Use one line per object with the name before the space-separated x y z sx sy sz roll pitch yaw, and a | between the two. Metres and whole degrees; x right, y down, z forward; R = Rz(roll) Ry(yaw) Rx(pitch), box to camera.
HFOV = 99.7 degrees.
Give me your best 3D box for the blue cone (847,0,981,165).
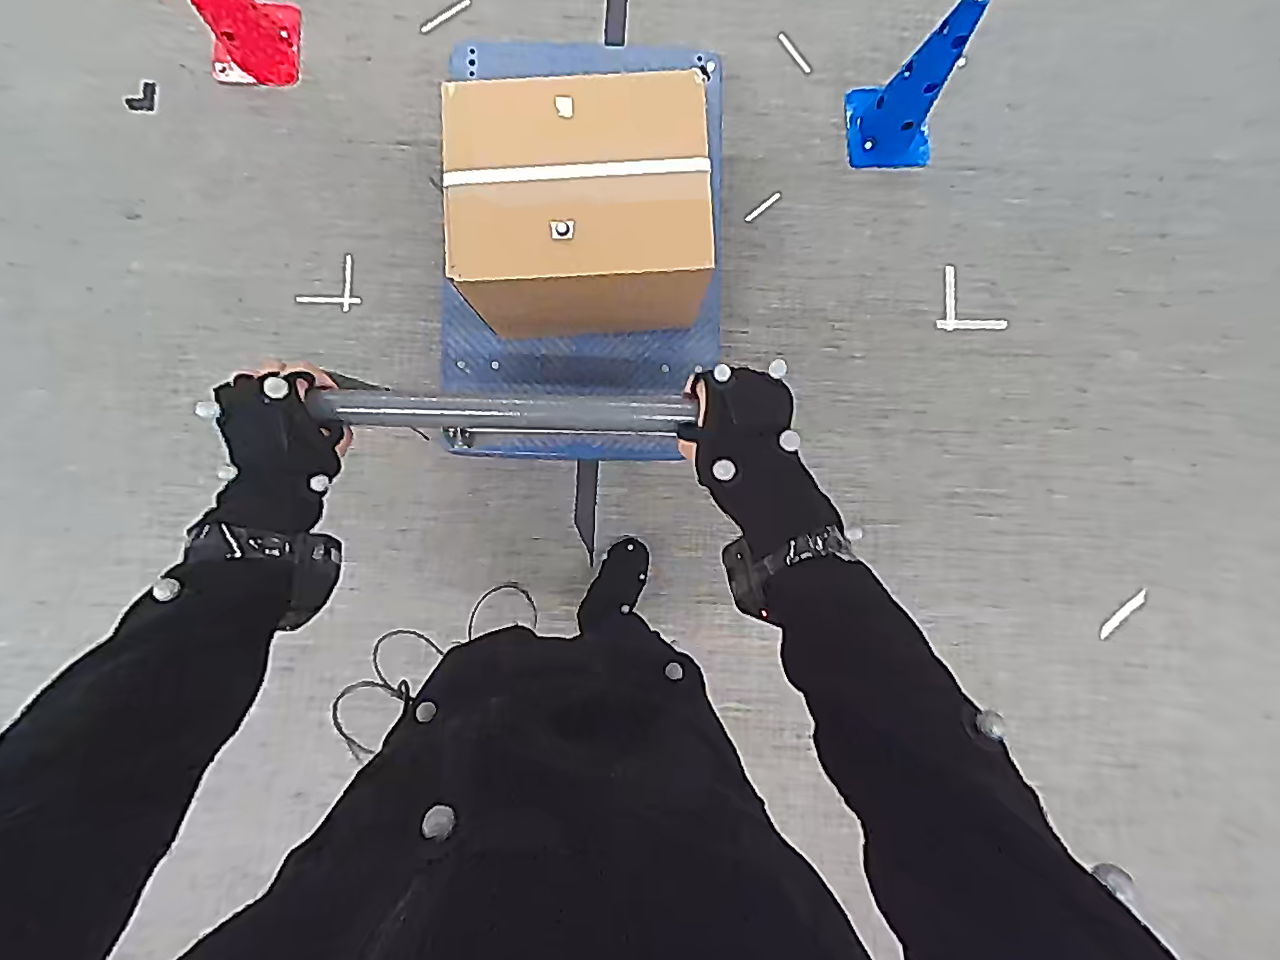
blue cone | 0.612 -0.878 1.169 0.193 0.380 0.192 -1 87 -1
